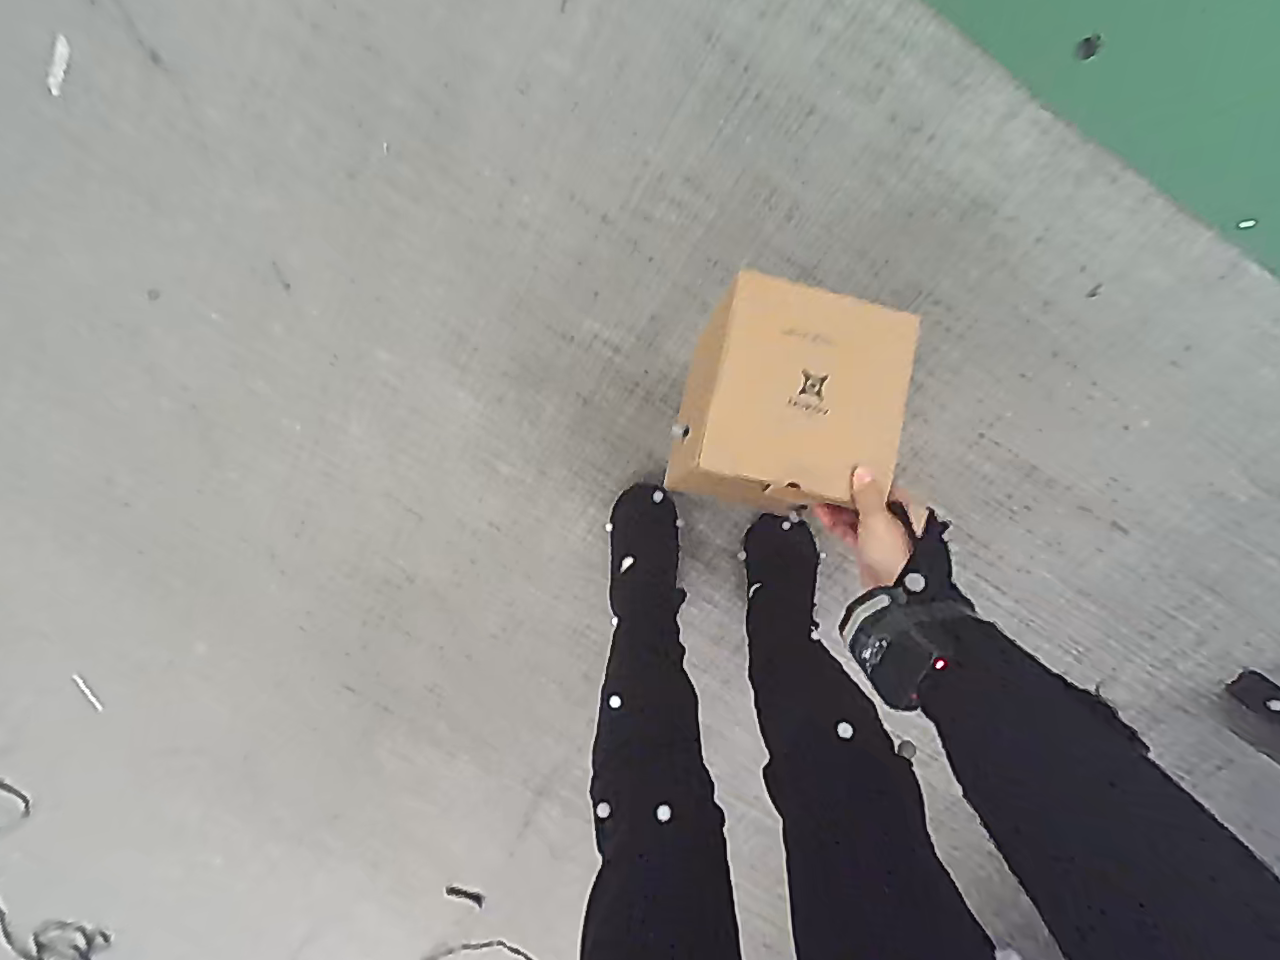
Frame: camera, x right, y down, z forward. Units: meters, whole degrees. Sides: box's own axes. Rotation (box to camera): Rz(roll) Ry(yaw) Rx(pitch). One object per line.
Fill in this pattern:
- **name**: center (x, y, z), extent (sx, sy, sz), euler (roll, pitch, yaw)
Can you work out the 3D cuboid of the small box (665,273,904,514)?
- **small box**: center (0.127, -0.067, 0.537), extent (0.168, 0.176, 0.179), euler (13, 82, -5)
